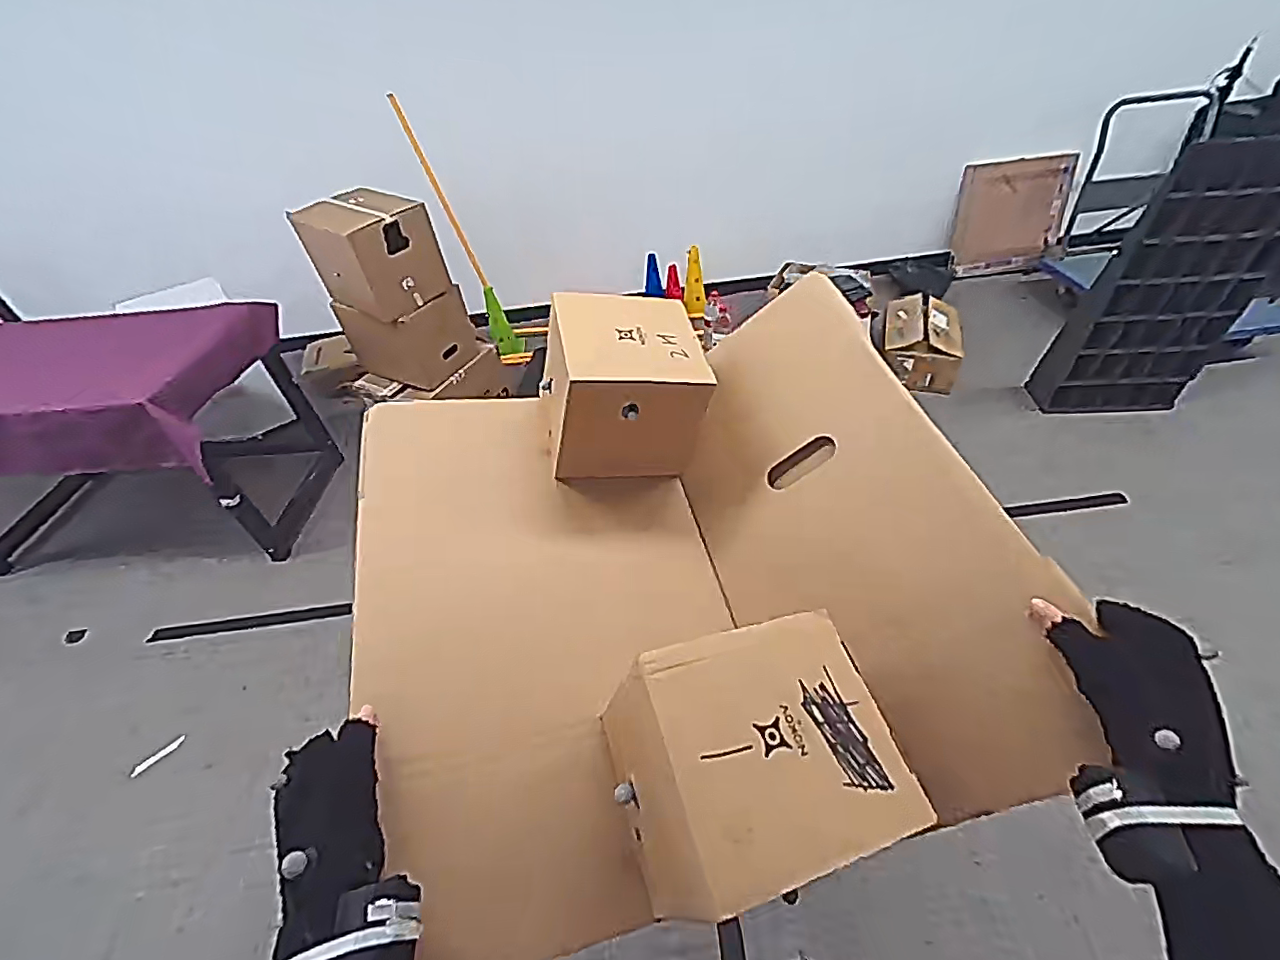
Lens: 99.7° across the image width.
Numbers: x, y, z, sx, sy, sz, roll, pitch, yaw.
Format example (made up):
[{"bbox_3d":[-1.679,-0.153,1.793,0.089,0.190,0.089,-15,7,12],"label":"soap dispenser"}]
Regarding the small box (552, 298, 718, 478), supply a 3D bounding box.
[{"bbox_3d":[-0.021,-0.115,0.710,0.179,0.176,0.168,0,52,-17],"label":"small box"}]
